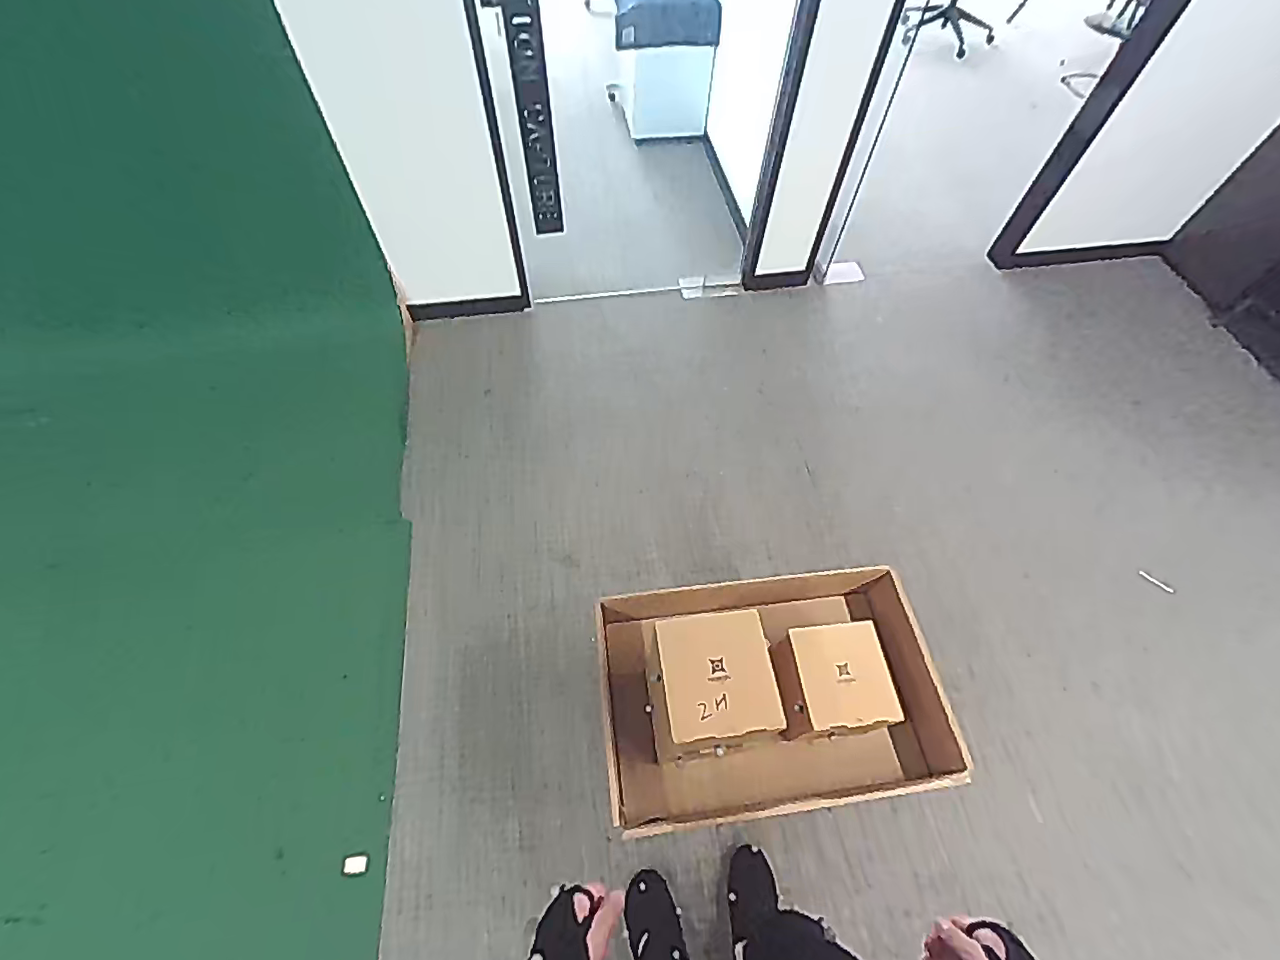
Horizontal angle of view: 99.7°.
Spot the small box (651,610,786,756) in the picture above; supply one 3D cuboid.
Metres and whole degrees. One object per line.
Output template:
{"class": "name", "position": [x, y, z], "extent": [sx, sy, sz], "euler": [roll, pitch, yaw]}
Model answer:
{"class": "small box", "position": [0.111, 0.325, 0.859], "extent": [0.168, 0.176, 0.179], "euler": [-5, 58, -5]}
